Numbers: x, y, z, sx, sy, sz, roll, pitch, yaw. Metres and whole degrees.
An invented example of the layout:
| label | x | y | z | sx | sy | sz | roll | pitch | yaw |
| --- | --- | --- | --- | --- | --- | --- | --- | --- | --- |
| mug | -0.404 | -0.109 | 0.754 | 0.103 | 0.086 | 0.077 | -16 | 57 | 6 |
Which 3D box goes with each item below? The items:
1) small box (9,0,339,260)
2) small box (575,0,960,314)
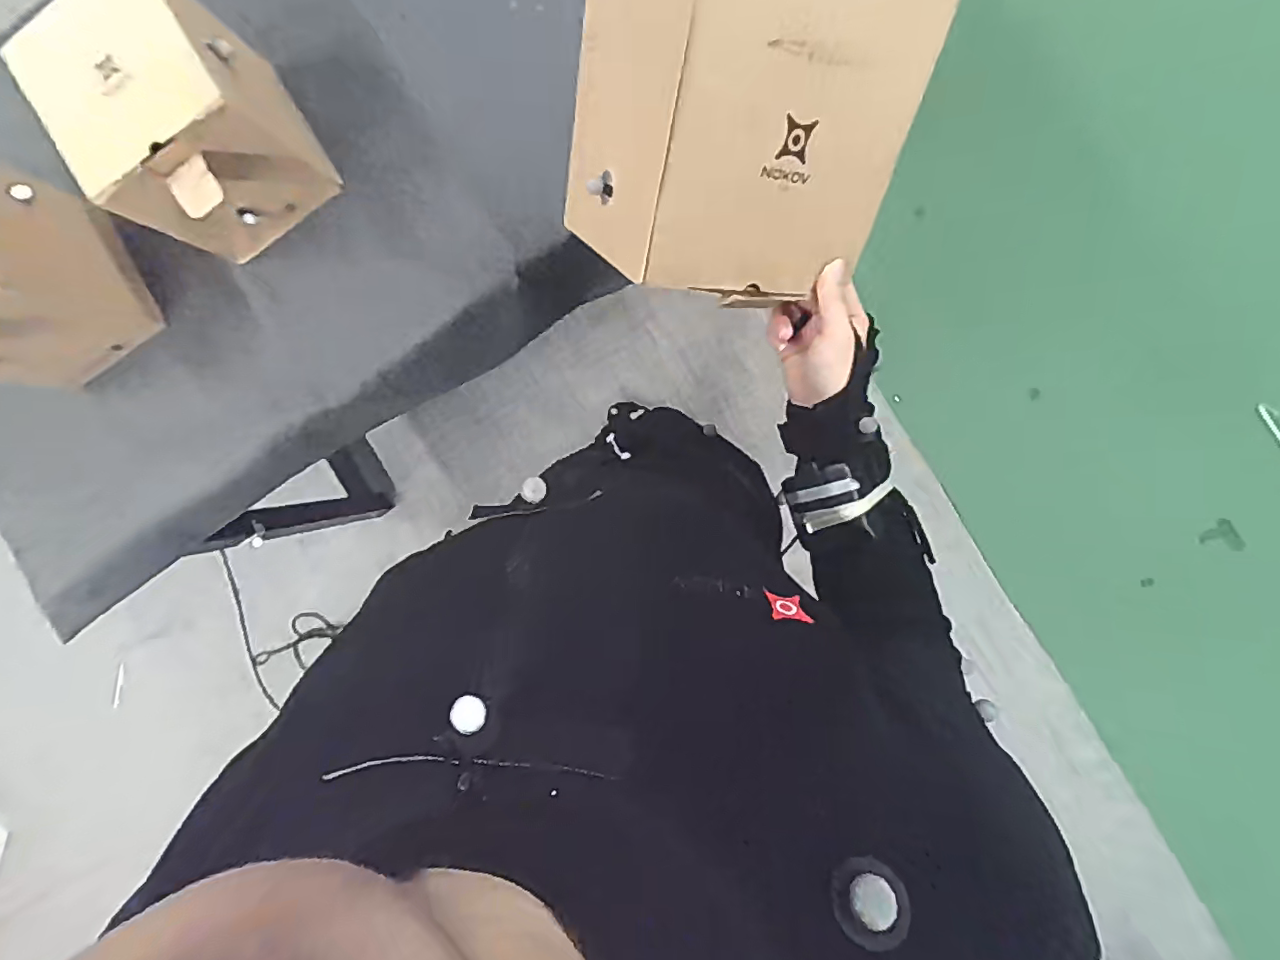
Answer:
| label | x | y | z | sx | sy | sz | roll | pitch | yaw |
| --- | --- | --- | --- | --- | --- | --- | --- | --- | --- |
| small box | -0.475 | -0.375 | 0.580 | 0.168 | 0.176 | 0.179 | -32 | 89 | 7 |
| small box | 0.061 | -0.232 | 0.374 | 0.168 | 0.176 | 0.179 | -6 | 127 | -25 |
